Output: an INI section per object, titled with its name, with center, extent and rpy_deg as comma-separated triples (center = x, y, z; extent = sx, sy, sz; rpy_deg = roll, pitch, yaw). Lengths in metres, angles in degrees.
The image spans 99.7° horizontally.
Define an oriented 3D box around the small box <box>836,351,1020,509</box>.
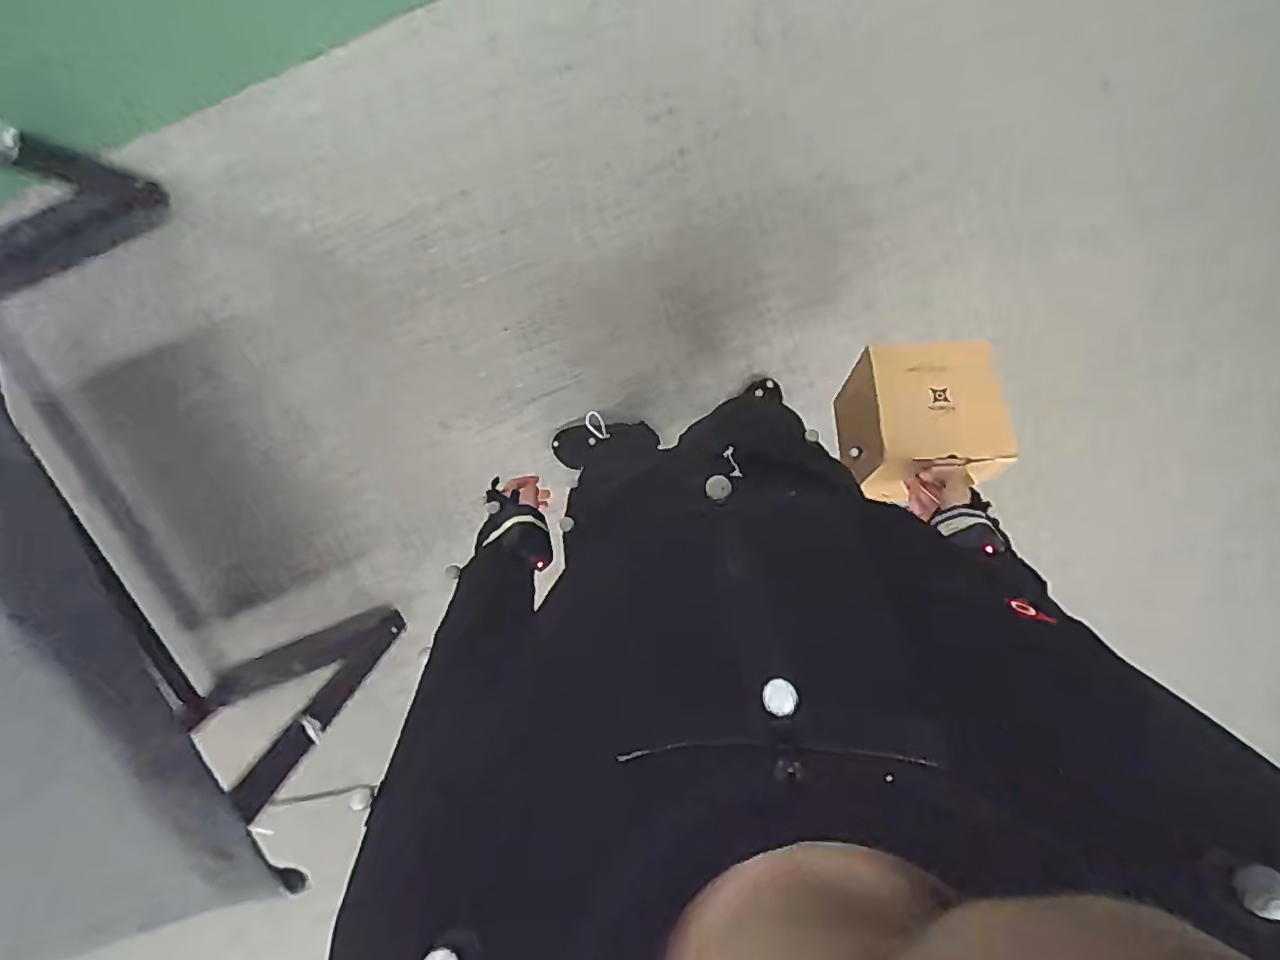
[small box]
center = 0.394, -0.064, 0.776
extent = 0.168, 0.176, 0.179
rpy_deg = 0, 67, 2
